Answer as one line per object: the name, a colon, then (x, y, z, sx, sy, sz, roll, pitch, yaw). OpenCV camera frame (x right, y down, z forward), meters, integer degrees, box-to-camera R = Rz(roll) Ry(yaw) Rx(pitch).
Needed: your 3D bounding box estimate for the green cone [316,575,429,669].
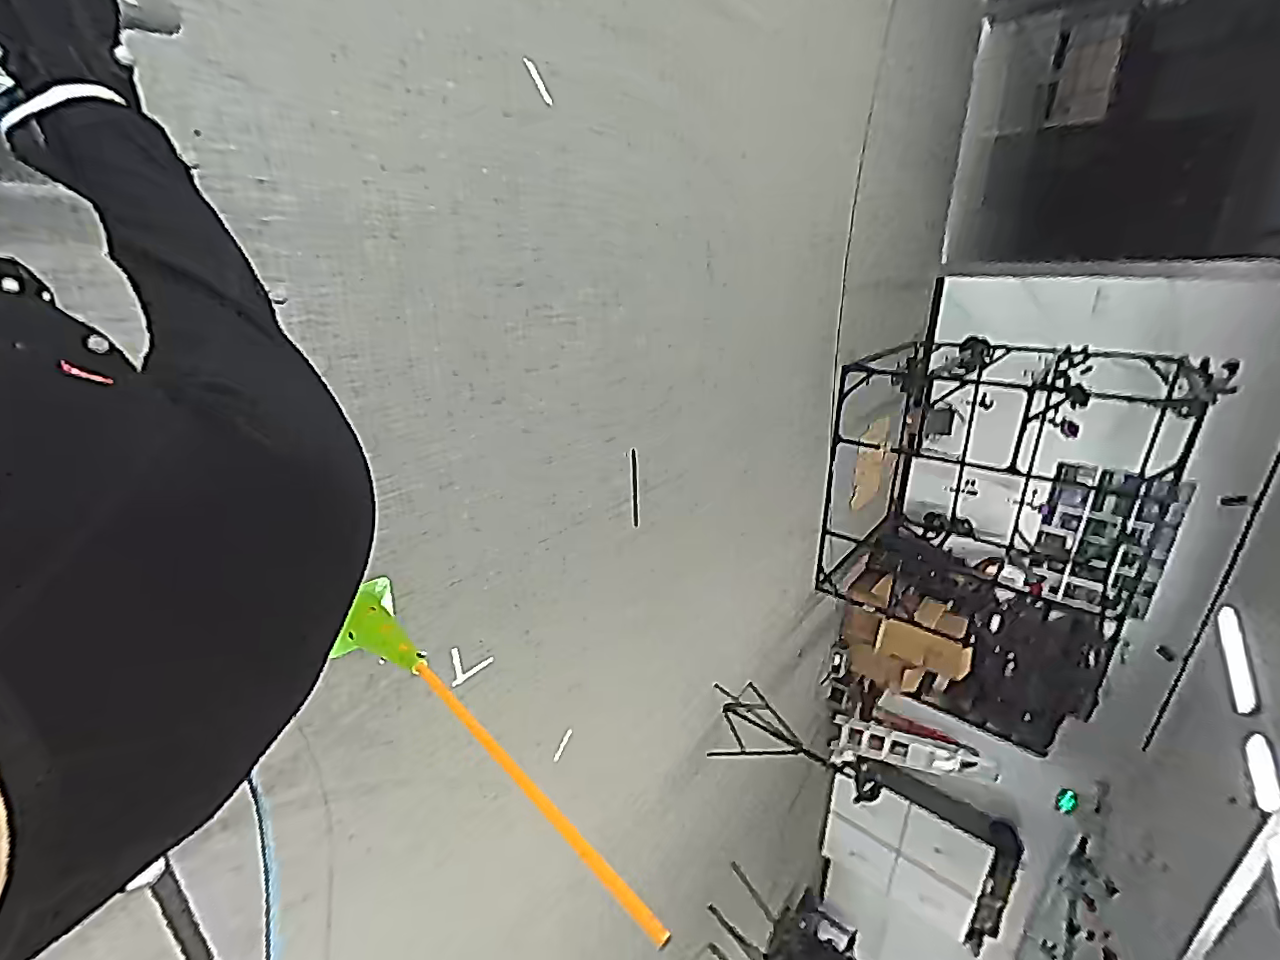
green cone: (-0.702, 0.433, 1.489, 0.202, 0.368, 0.200, -20, 119, -48)
